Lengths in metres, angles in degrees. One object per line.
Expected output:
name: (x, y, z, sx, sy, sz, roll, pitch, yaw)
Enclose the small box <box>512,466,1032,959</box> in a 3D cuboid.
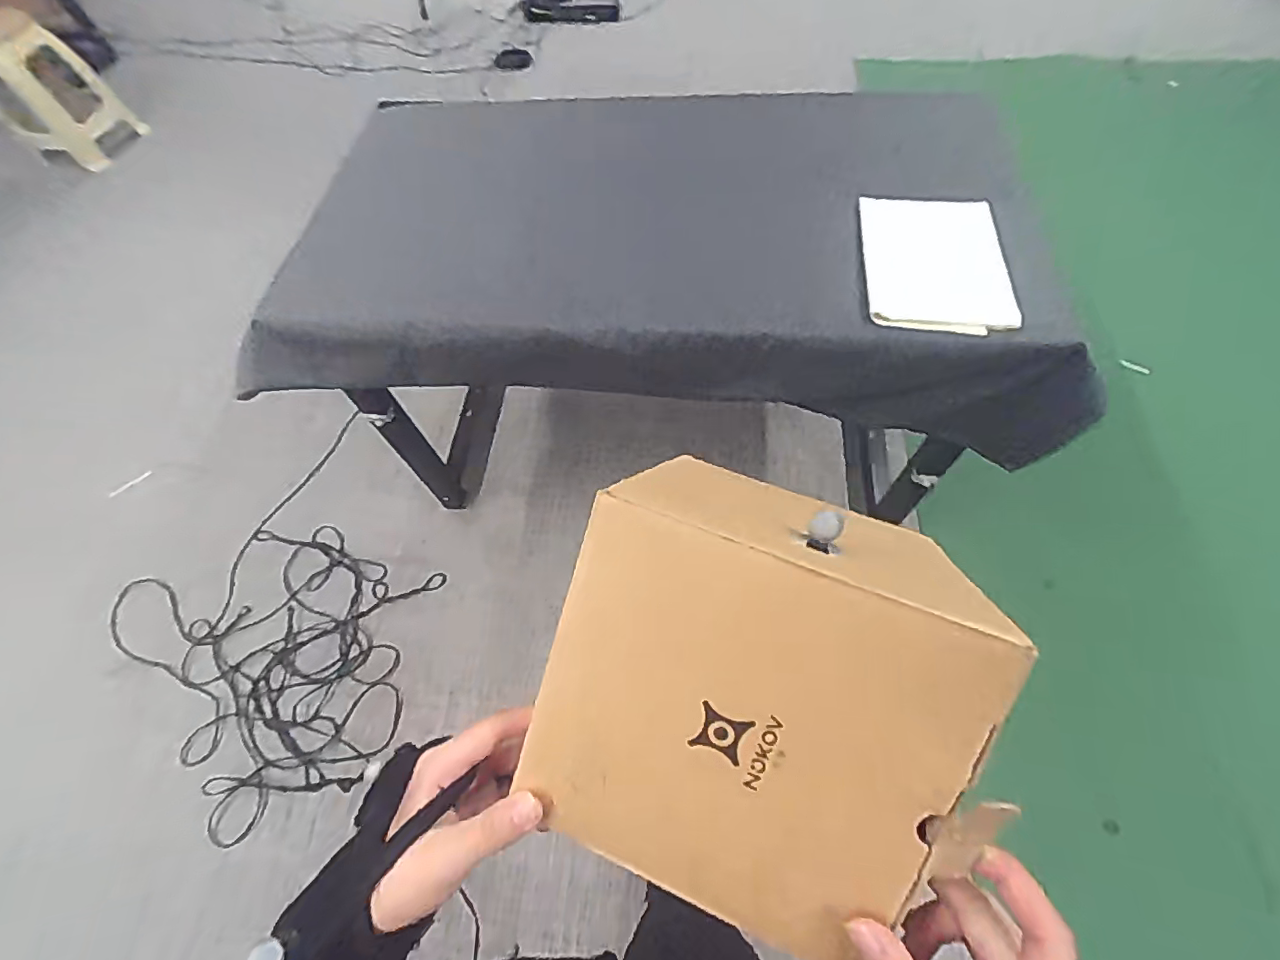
small box: (0.061, 0.095, 0.304, 0.179, 0.176, 0.168, 19, 101, 12)
